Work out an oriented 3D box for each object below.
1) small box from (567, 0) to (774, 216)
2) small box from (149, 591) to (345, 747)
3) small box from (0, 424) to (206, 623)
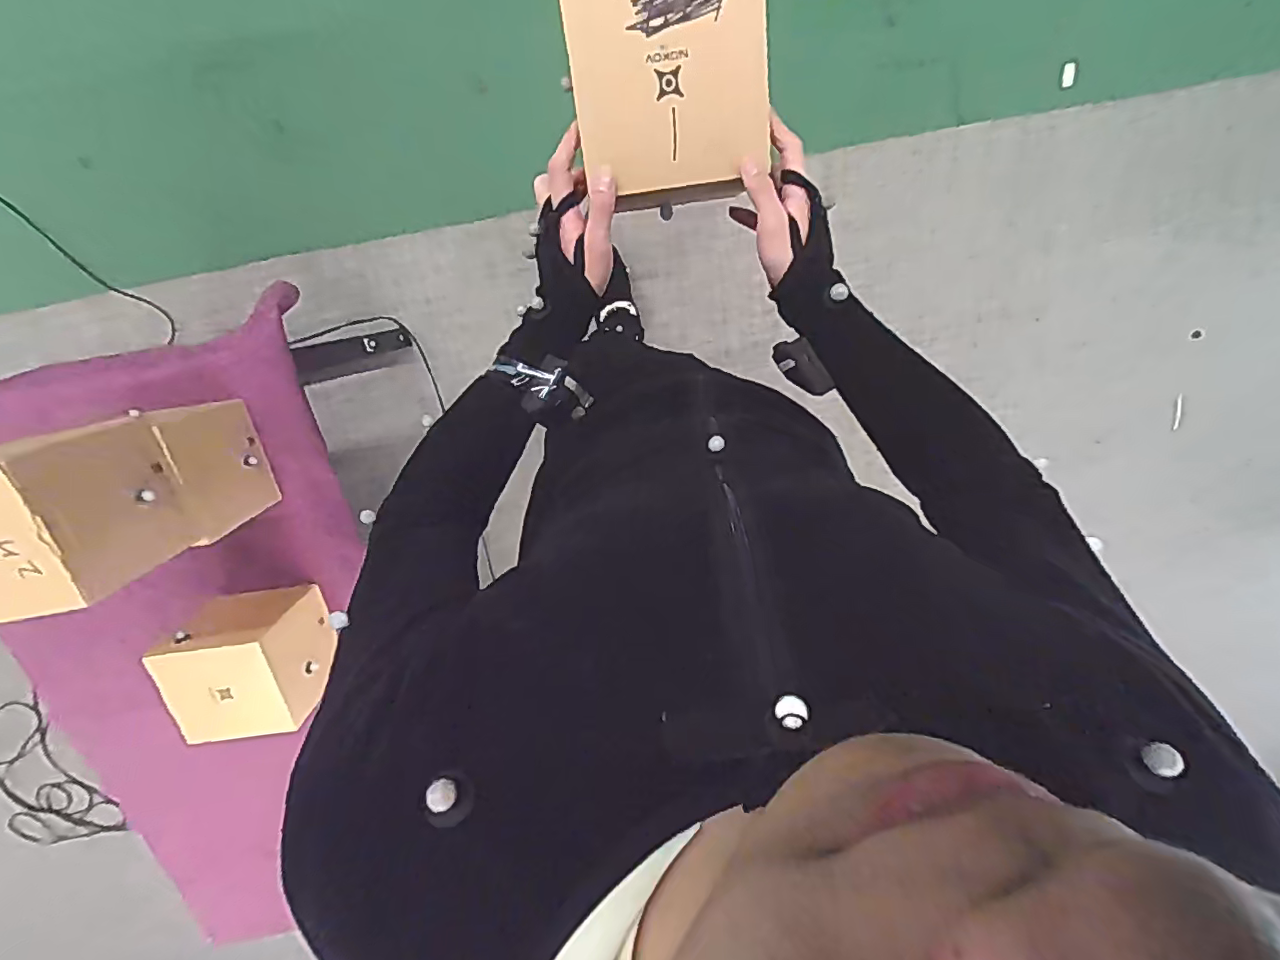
[{"bbox_3d":[0.028,-0.368,0.524,0.168,0.176,0.179,-7,112,3],"label":"small box"},{"bbox_3d":[-0.610,0.295,0.873,0.179,0.176,0.168,-8,109,2],"label":"small box"},{"bbox_3d":[-0.660,0.044,0.611,0.179,0.176,0.168,-9,110,2],"label":"small box"}]
